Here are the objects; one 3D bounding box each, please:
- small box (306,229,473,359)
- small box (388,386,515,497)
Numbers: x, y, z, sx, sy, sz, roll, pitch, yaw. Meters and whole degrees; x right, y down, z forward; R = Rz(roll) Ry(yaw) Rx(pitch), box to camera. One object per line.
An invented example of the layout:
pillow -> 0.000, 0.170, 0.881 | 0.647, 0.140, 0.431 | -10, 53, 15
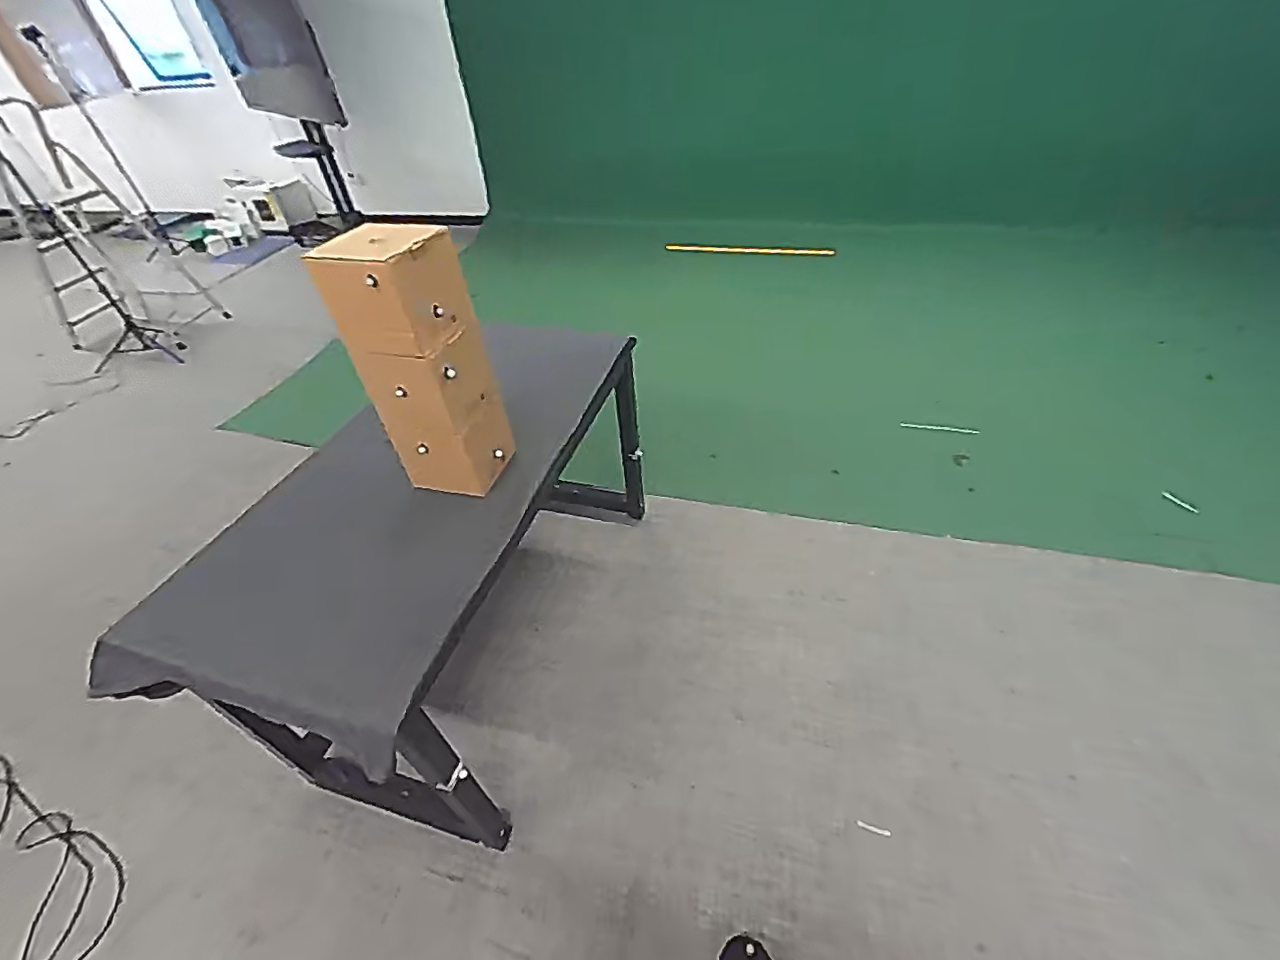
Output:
small box -> -0.426, -0.327, 0.950 | 0.179, 0.176, 0.168 | 10, 44, 17
small box -> -0.394, -0.082, 1.164 | 0.179, 0.176, 0.168 | 8, 44, 14
